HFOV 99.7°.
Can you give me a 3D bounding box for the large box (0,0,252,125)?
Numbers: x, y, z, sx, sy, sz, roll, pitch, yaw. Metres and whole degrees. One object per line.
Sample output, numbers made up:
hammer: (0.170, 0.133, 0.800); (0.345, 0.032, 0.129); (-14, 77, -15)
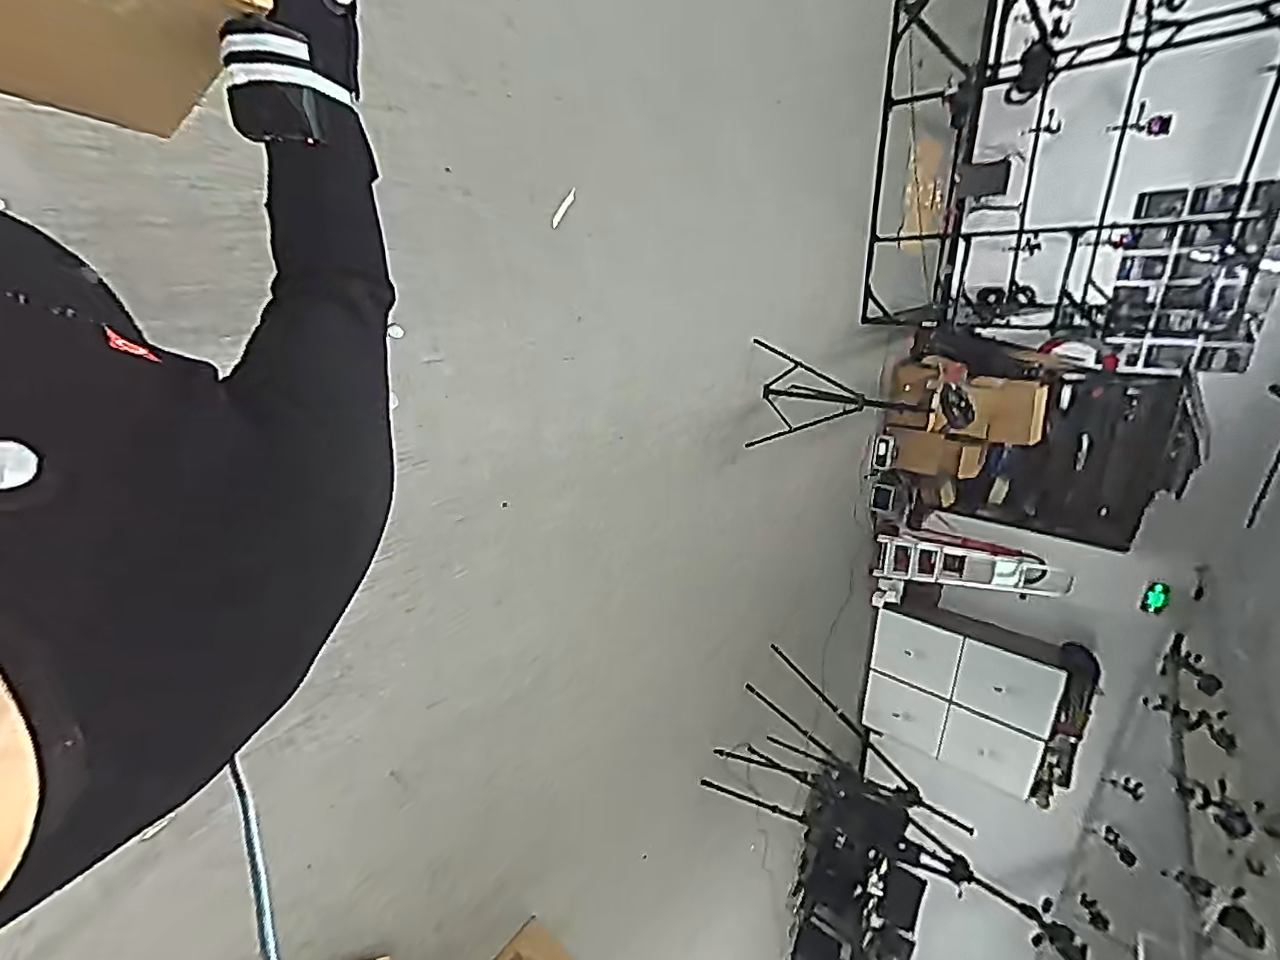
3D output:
large box: (-0.489, -0.453, 0.271); (0.408, 0.320, 0.320); (-12, 107, -49)
